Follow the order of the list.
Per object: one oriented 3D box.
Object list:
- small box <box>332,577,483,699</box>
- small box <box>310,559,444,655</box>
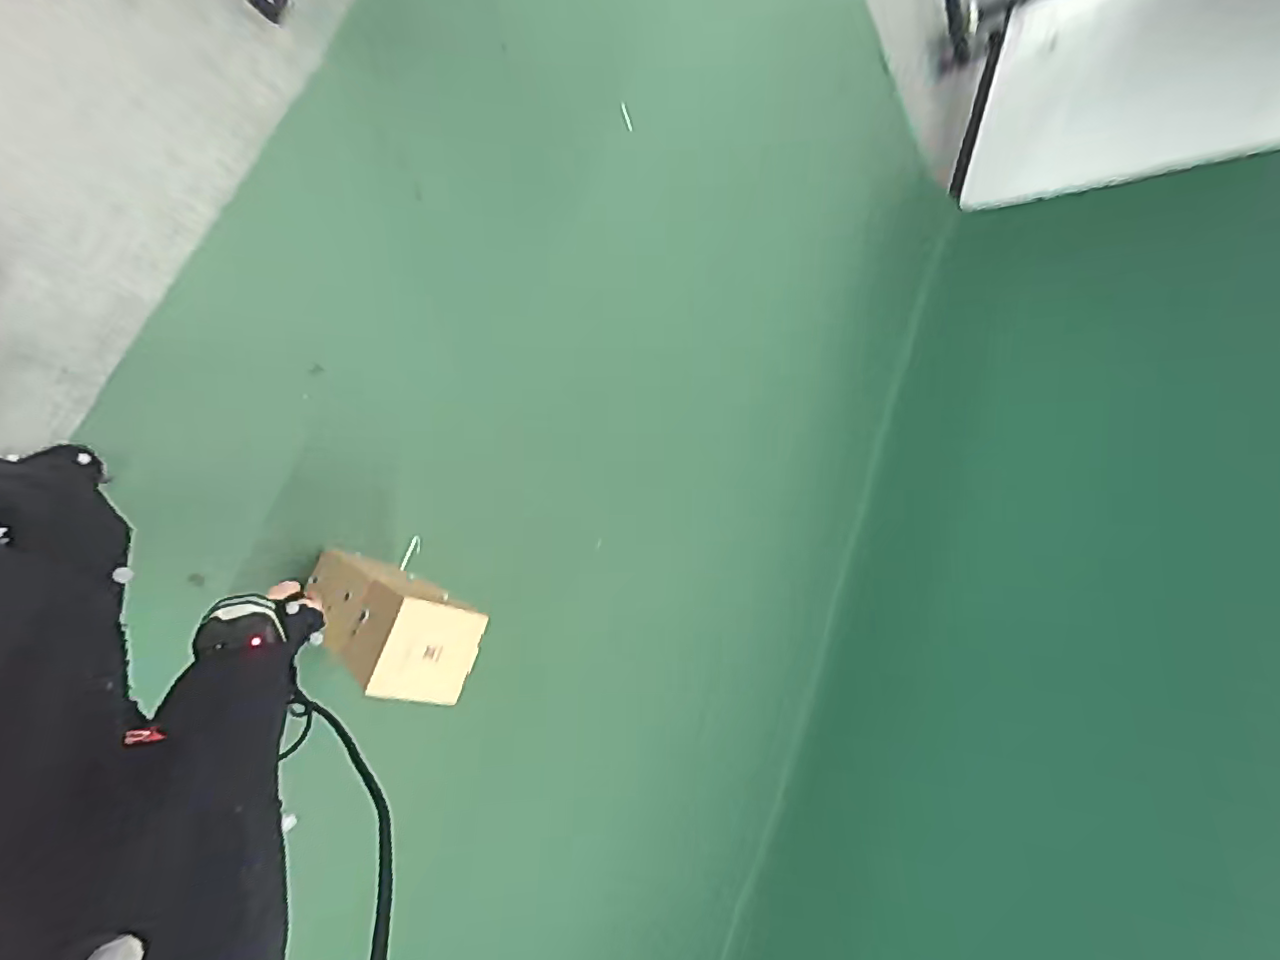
[{"bbox_3d":[-0.435,0.291,1.013,0.179,0.176,0.168,30,74,-43],"label":"small box"},{"bbox_3d":[-0.551,0.271,1.125,0.179,0.176,0.168,29,75,-44],"label":"small box"}]
